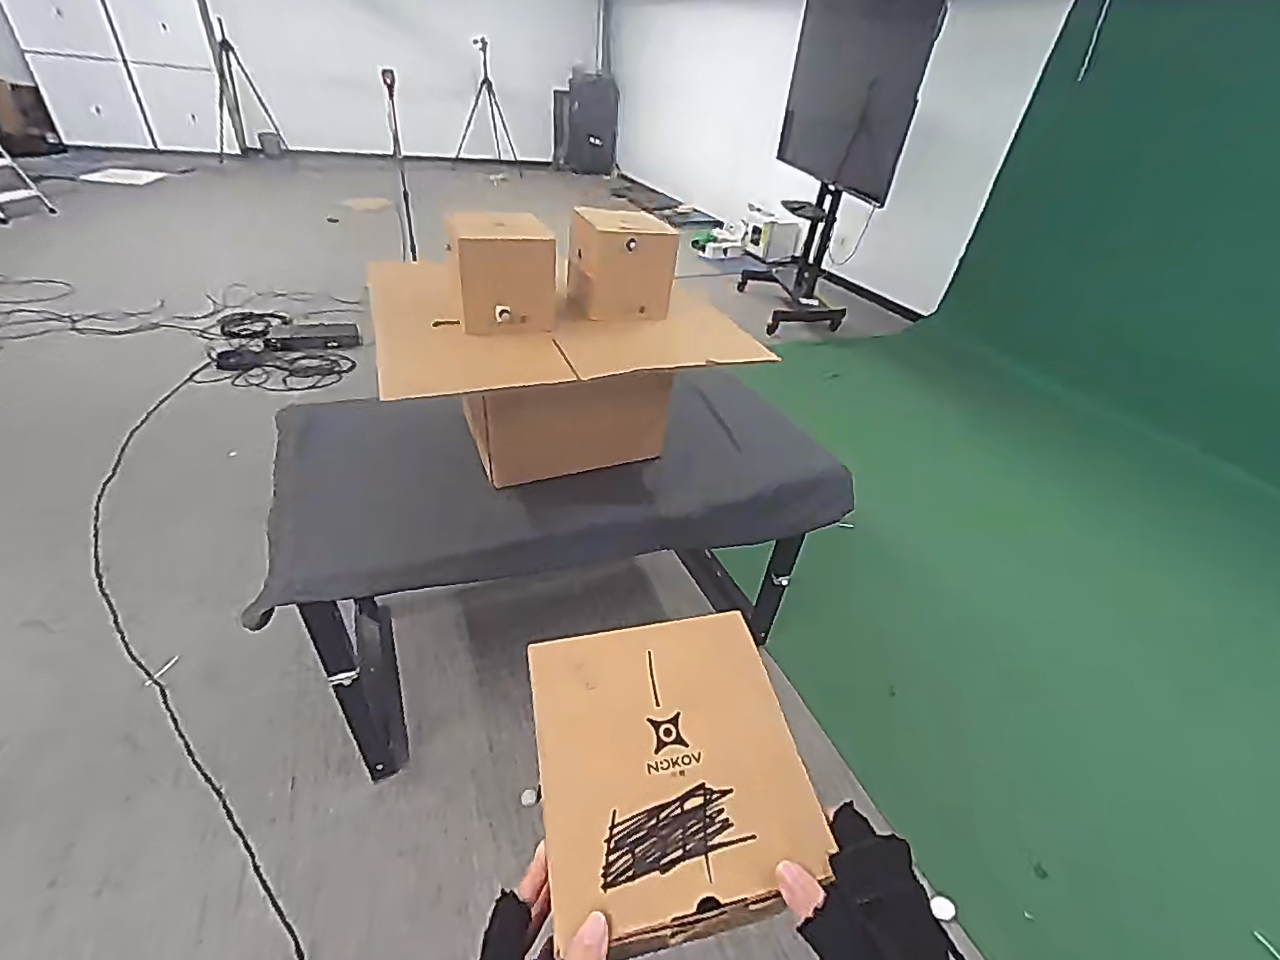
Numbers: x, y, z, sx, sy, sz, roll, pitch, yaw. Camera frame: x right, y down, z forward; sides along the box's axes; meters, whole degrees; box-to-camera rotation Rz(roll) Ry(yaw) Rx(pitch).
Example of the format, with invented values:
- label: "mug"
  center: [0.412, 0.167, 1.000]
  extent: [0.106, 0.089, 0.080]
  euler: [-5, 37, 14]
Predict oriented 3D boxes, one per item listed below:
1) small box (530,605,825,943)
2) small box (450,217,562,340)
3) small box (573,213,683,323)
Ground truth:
- label: "small box"
  center: [0.009, 0.224, 0.414]
  extent: [0.168, 0.176, 0.179]
  euler: [-6, 45, -12]
- label: "small box"
  center: [-0.249, -0.374, 1.000]
  extent: [0.168, 0.176, 0.179]
  euler: [-11, 42, -21]
- label: "small box"
  center: [-0.034, -0.428, 1.098]
  extent: [0.168, 0.176, 0.179]
  euler: [-9, 39, -21]
